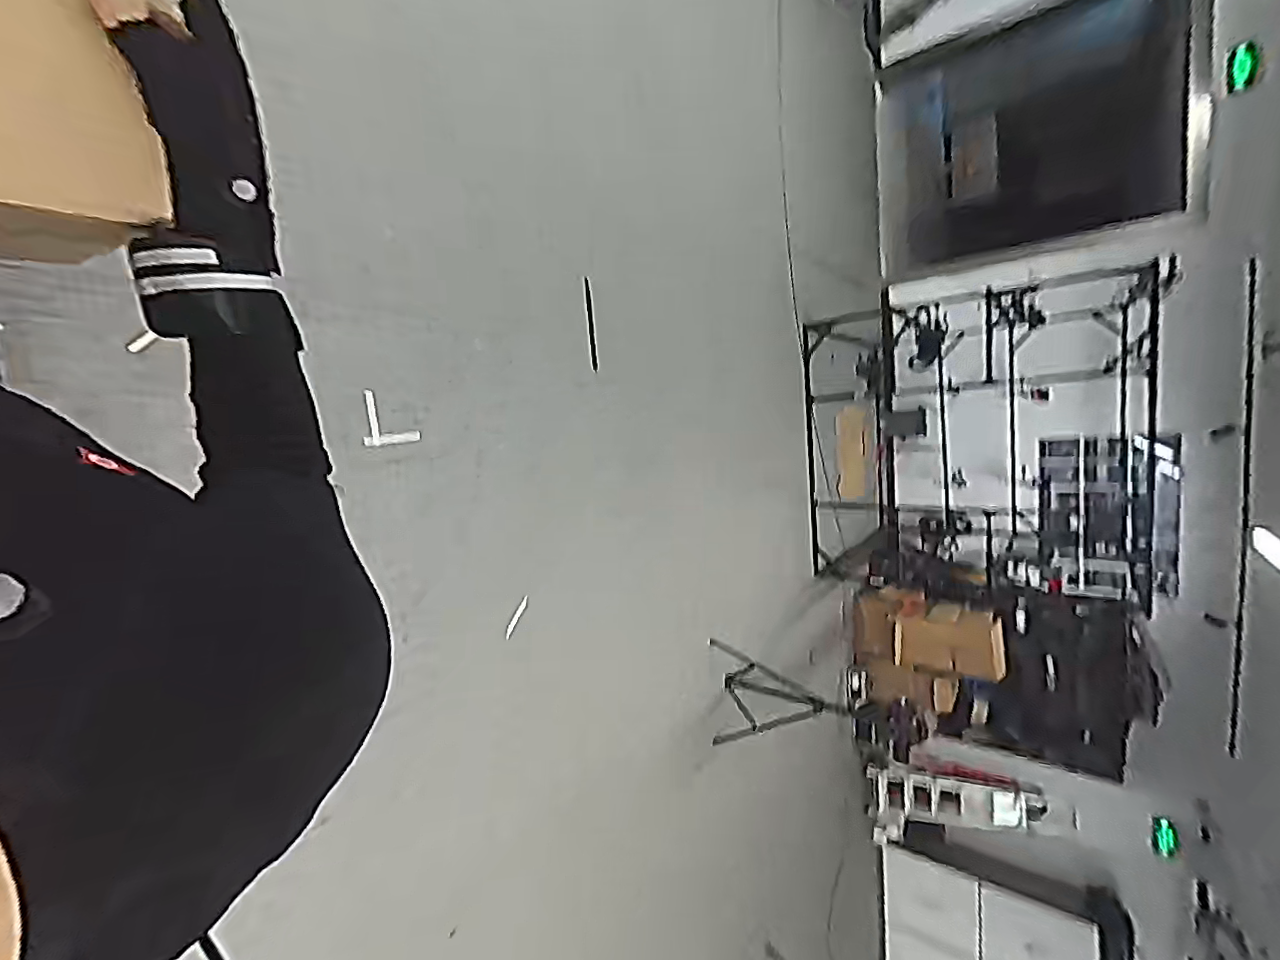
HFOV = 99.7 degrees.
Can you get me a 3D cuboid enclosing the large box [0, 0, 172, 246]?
[{"bbox_3d":[-0.551,-0.322,0.260,0.408,0.320,0.320,-15,112,-53],"label":"large box"}]
